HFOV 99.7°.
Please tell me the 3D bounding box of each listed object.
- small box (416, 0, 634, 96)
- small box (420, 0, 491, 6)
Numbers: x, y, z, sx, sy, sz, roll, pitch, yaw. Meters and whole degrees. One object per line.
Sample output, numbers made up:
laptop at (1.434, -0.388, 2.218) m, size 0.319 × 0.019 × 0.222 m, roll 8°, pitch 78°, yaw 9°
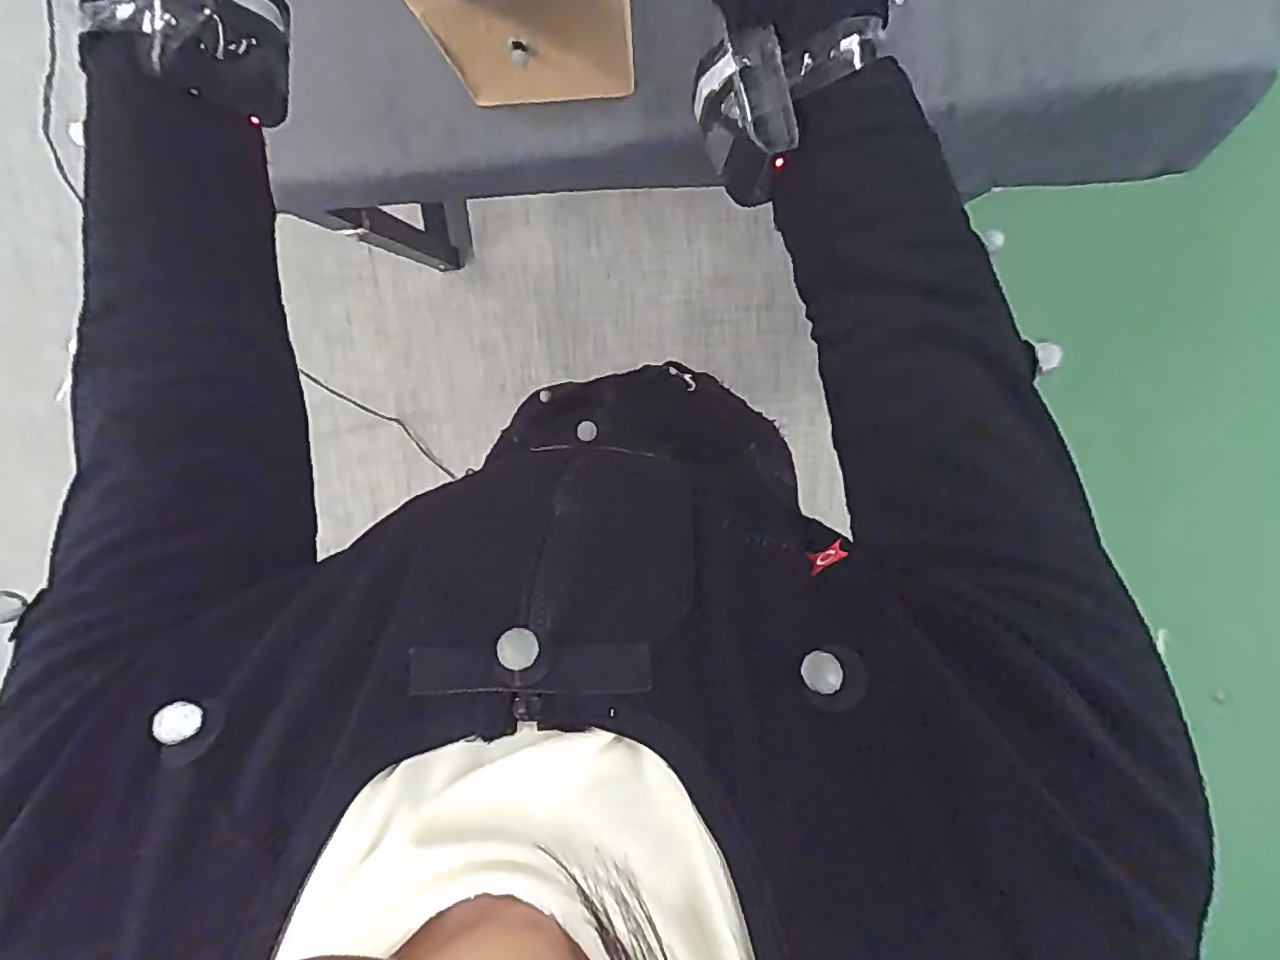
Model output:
small box at (-0.100, -0.491, 0.507) m, size 0.179 × 0.176 × 0.168 m, roll -2°, pitch 101°, yaw 3°
small box at (-0.105, -0.457, 0.348) m, size 0.179 × 0.176 × 0.168 m, roll -3°, pitch 99°, yaw 3°
